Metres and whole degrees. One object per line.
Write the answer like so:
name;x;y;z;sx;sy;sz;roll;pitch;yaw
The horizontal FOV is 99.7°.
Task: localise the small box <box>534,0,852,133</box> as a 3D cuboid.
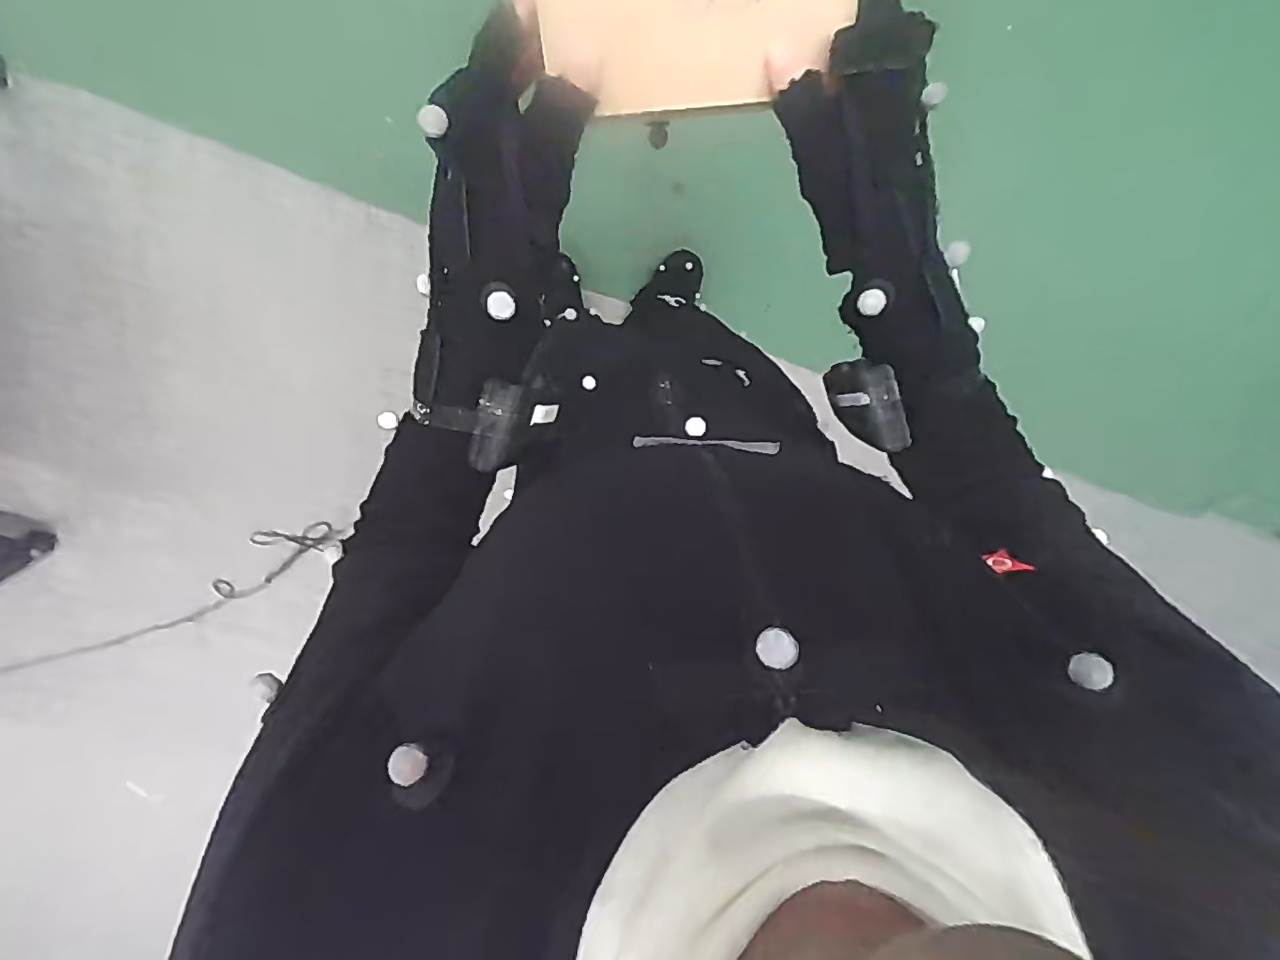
small box;0.018;-0.320;0.323;0.168;0.176;0.179;-6;122;-1
